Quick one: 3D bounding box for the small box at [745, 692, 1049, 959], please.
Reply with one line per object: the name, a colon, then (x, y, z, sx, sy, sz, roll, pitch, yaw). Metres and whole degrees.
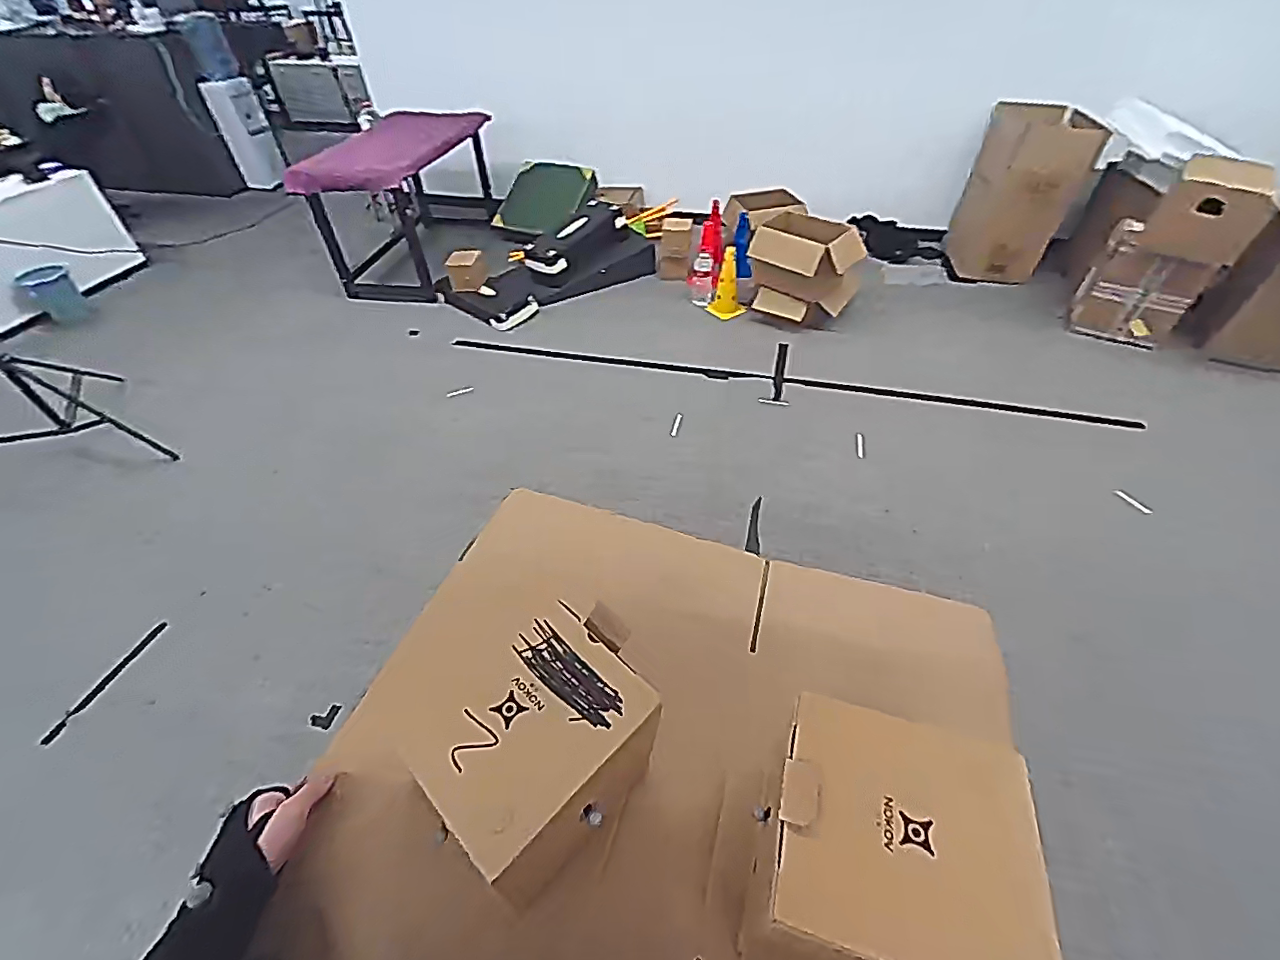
small box: (0.197, 0.315, 0.457, 0.179, 0.176, 0.168, 12, 44, 14)
